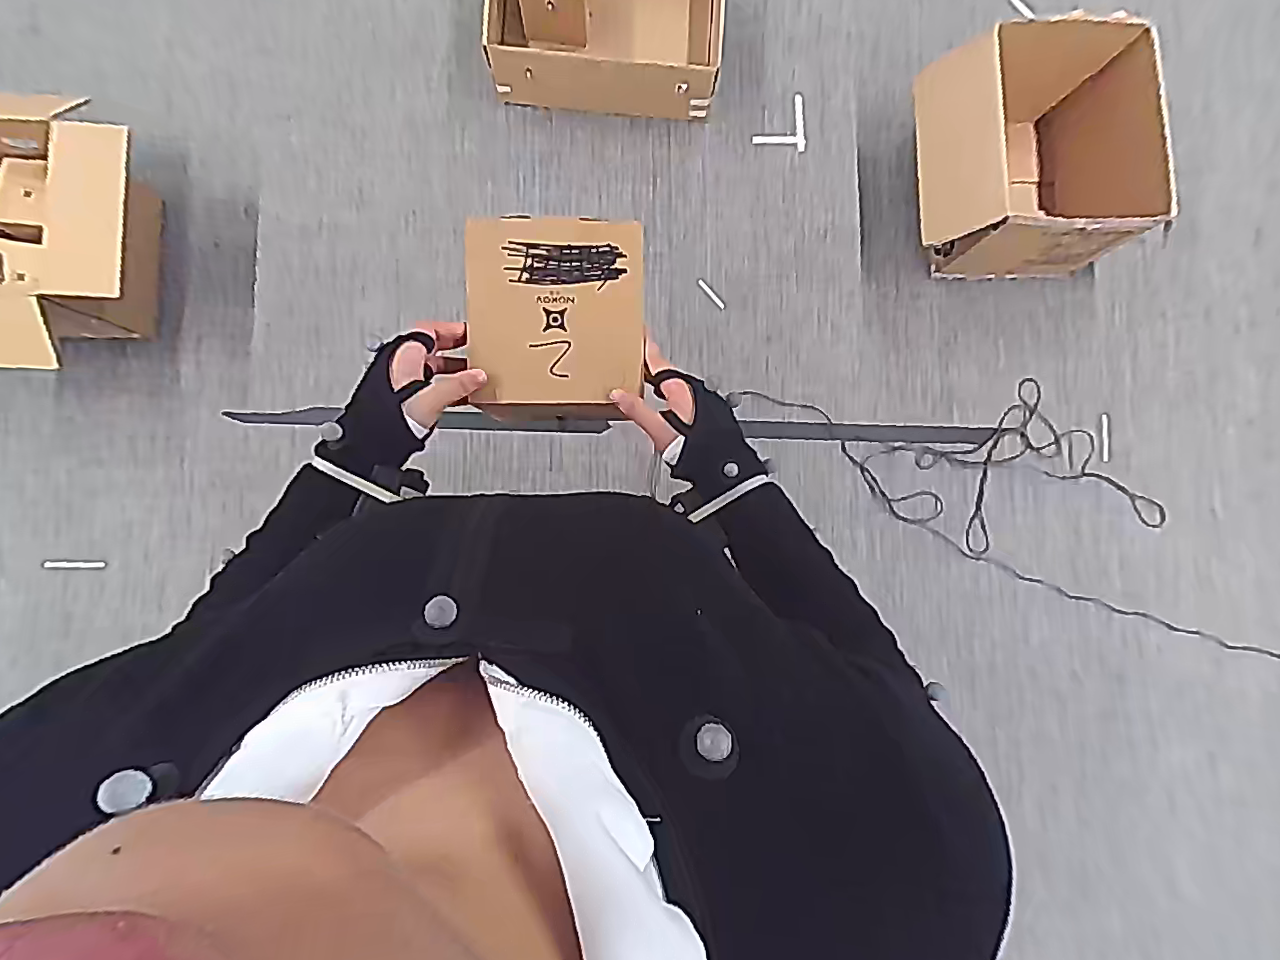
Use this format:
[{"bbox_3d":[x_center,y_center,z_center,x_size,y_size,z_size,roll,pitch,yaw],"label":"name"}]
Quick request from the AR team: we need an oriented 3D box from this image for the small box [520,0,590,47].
[{"bbox_3d":[-0.230,-1.318,1.459,0.179,0.176,0.168,4,89,-4],"label":"small box"}]
